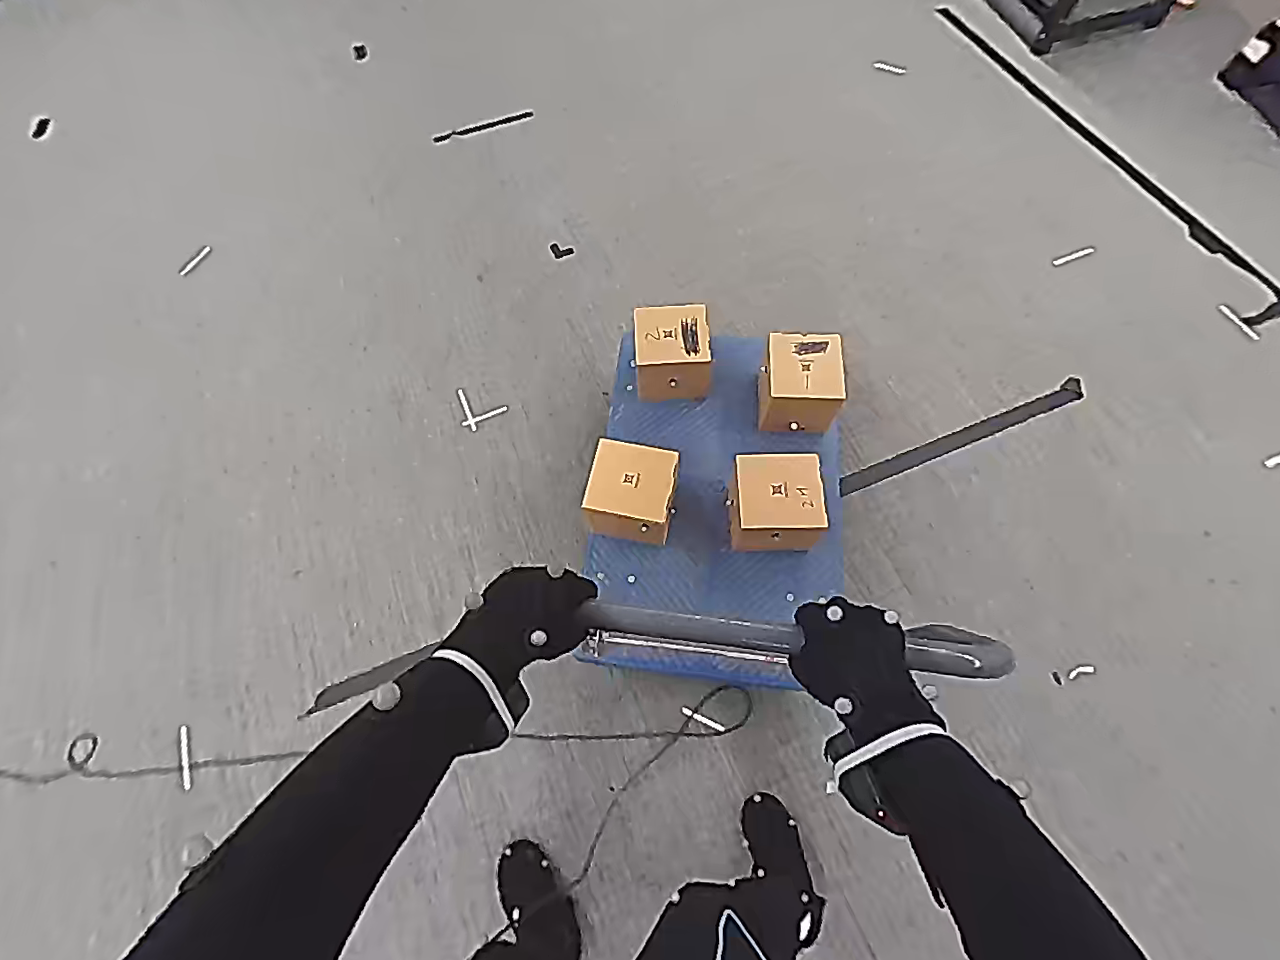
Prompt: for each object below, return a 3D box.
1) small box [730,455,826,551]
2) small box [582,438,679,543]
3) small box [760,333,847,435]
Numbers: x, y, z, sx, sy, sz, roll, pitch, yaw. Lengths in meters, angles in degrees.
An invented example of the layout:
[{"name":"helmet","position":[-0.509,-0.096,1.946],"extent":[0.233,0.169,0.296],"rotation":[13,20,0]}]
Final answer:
[{"name":"small box","position":[0.289,0.055,1.178],"extent":[0.179,0.176,0.168],"rotation":[1,68,3]},{"name":"small box","position":[-0.017,0.029,1.203],"extent":[0.179,0.176,0.168],"rotation":[12,68,5]},{"name":"small box","position":[0.382,-0.227,1.291],"extent":[0.168,0.176,0.179],"rotation":[3,69,4]}]
